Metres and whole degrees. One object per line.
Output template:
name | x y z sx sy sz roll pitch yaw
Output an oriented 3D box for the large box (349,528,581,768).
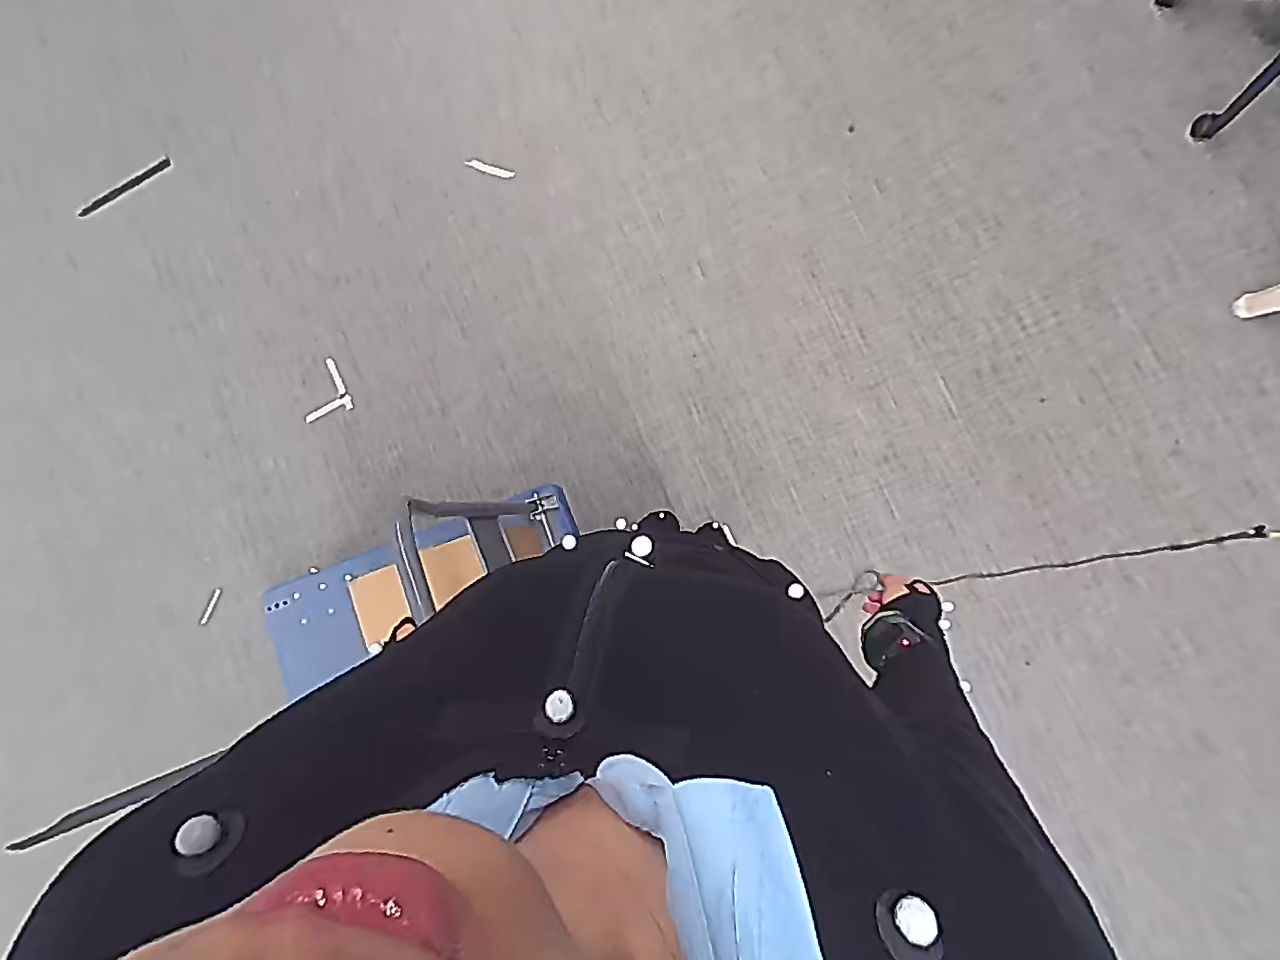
large box | -0.369 0.347 1.222 0.320 0.320 0.408 -20 84 5
